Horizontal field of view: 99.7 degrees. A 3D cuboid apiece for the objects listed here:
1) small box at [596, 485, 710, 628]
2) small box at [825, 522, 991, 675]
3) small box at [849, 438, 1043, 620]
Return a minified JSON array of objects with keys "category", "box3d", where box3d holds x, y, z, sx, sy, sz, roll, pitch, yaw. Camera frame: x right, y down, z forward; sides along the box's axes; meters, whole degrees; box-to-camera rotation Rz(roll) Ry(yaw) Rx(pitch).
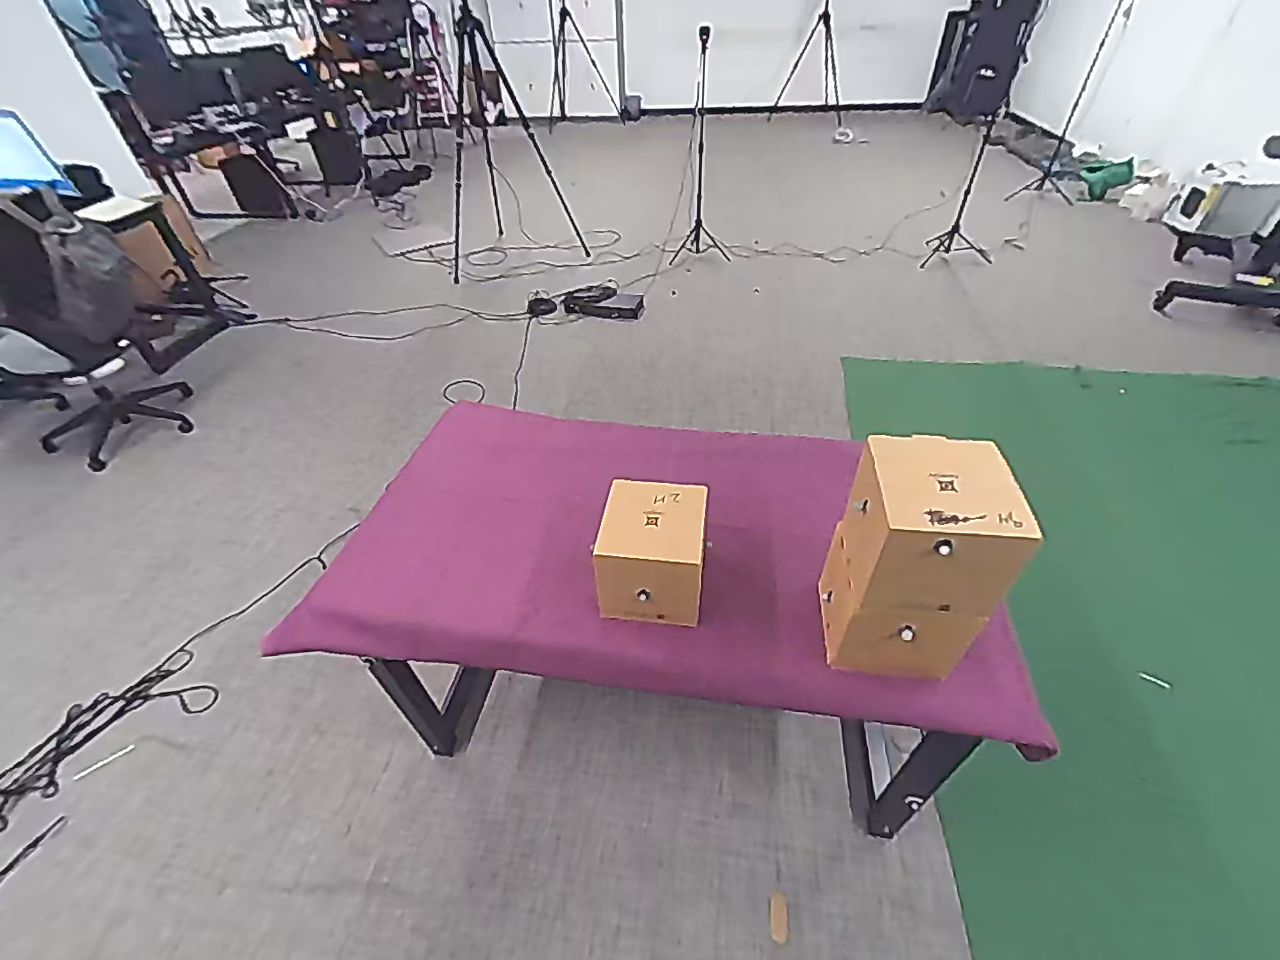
[{"category":"small box","box3d":[0.031,0.131,0.927,0.168,0.176,0.179,4,42,9]},{"category":"small box","box3d":[0.396,0.184,0.836,0.179,0.176,0.168,1,43,9]},{"category":"small box","box3d":[0.387,0.062,0.727,0.168,0.176,0.179,1,43,10]}]
